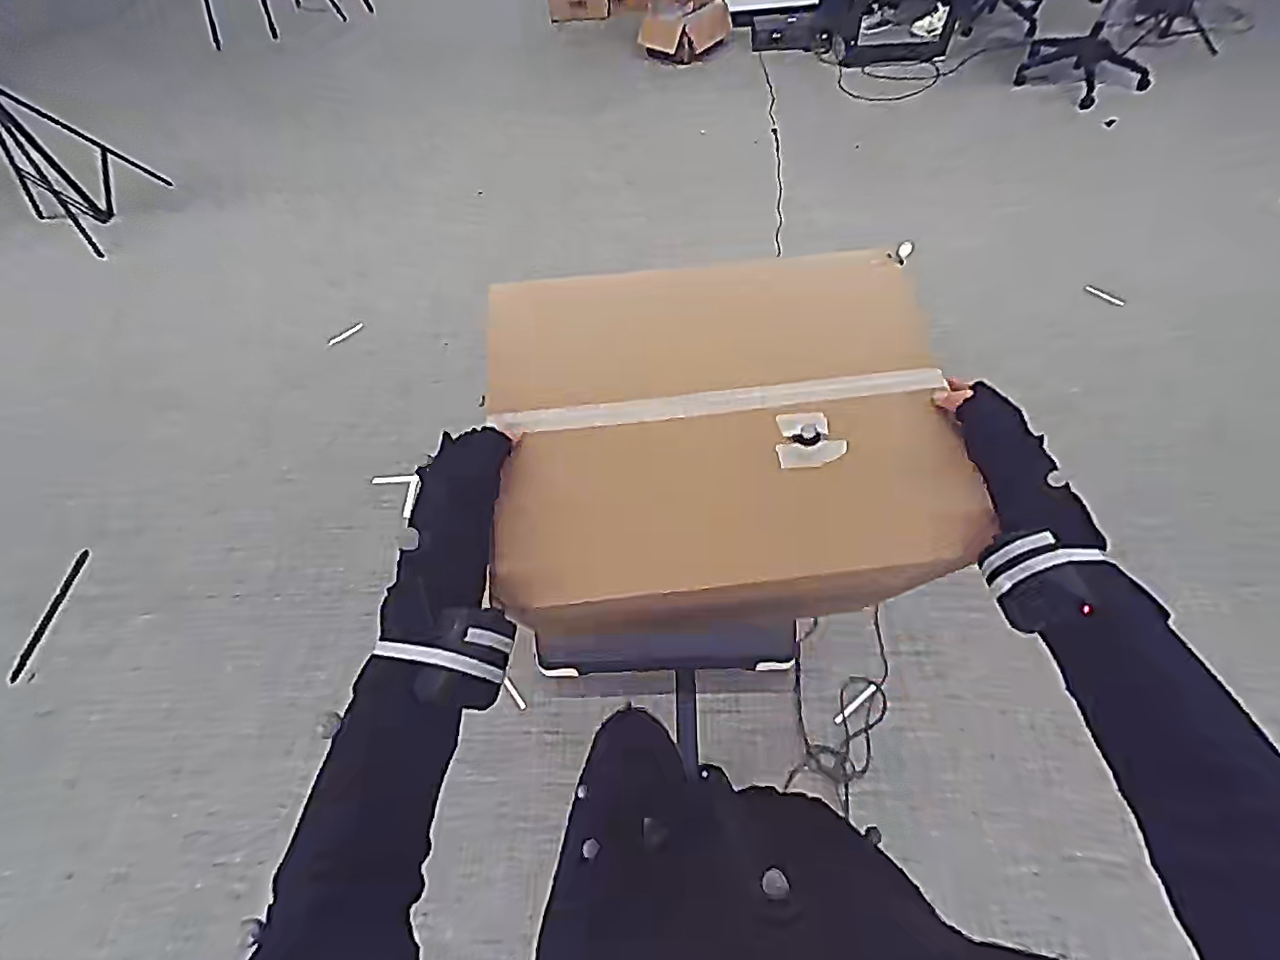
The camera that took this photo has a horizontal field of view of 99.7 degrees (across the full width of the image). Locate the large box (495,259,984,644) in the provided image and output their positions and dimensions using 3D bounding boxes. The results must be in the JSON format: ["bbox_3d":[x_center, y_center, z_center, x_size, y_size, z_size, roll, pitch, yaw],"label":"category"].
[{"bbox_3d":[0.069,-0.008,0.629,0.408,0.320,0.320,-6,68,-2],"label":"large box"}]
